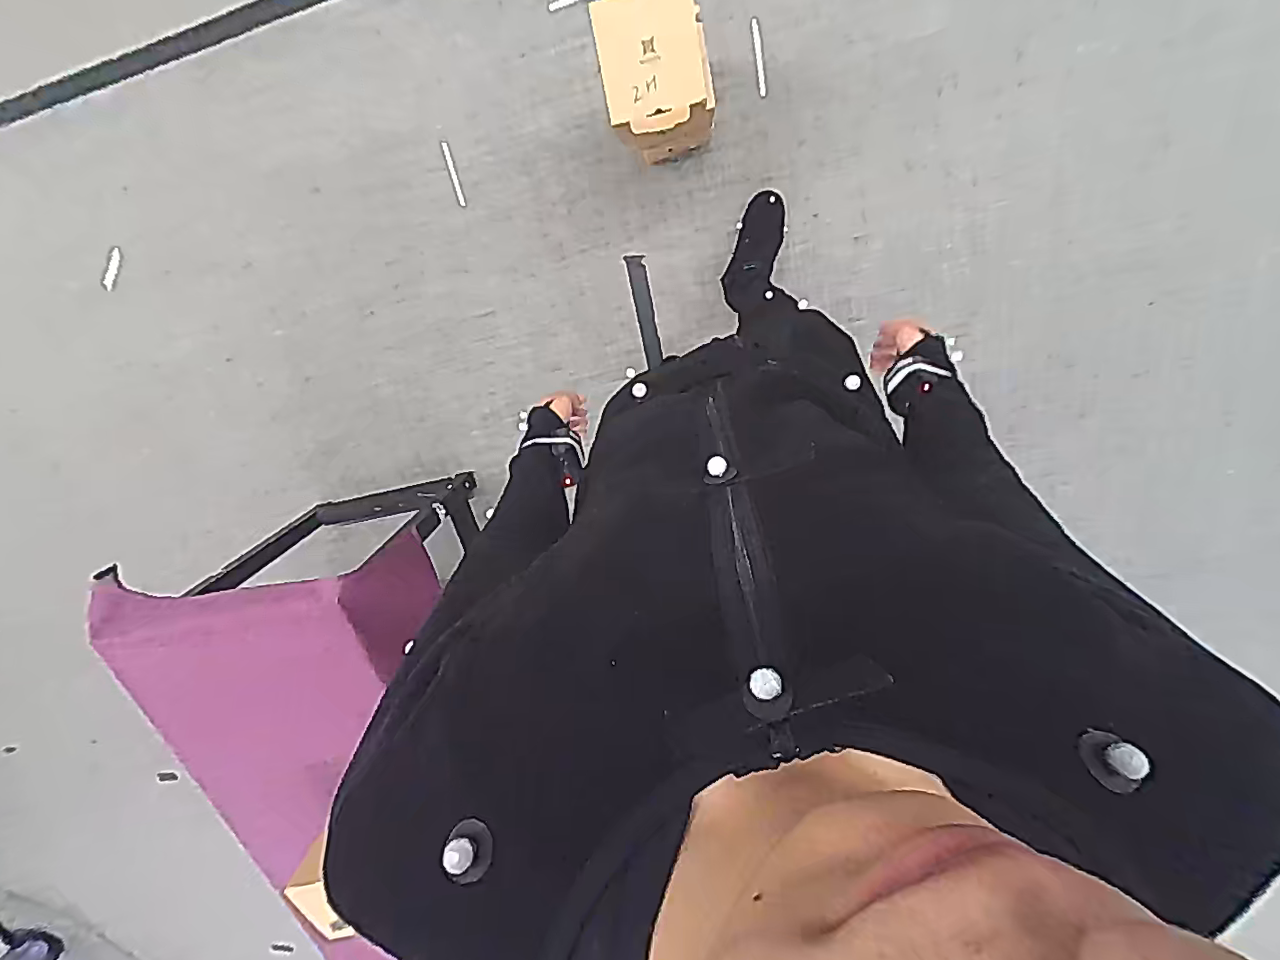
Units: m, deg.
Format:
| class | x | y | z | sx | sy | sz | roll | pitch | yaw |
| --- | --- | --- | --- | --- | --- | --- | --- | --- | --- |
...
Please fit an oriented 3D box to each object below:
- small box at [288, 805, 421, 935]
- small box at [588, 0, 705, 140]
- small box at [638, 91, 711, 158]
| class | x | y | z | sx | sy | sz | roll | pitch | yaw |
| --- | --- | --- | --- | --- | --- | --- | --- | --- | --- |
| small box | -0.642 | 0.889 | 1.241 | 0.168 | 0.176 | 0.179 | -21 | 109 | 13 |
| small box | 0.016 | -0.724 | 0.943 | 0.168 | 0.176 | 0.179 | -9 | 112 | 8 |
| small box | 0.064 | -0.863 | 1.240 | 0.168 | 0.176 | 0.179 | -14 | 110 | 11 |
